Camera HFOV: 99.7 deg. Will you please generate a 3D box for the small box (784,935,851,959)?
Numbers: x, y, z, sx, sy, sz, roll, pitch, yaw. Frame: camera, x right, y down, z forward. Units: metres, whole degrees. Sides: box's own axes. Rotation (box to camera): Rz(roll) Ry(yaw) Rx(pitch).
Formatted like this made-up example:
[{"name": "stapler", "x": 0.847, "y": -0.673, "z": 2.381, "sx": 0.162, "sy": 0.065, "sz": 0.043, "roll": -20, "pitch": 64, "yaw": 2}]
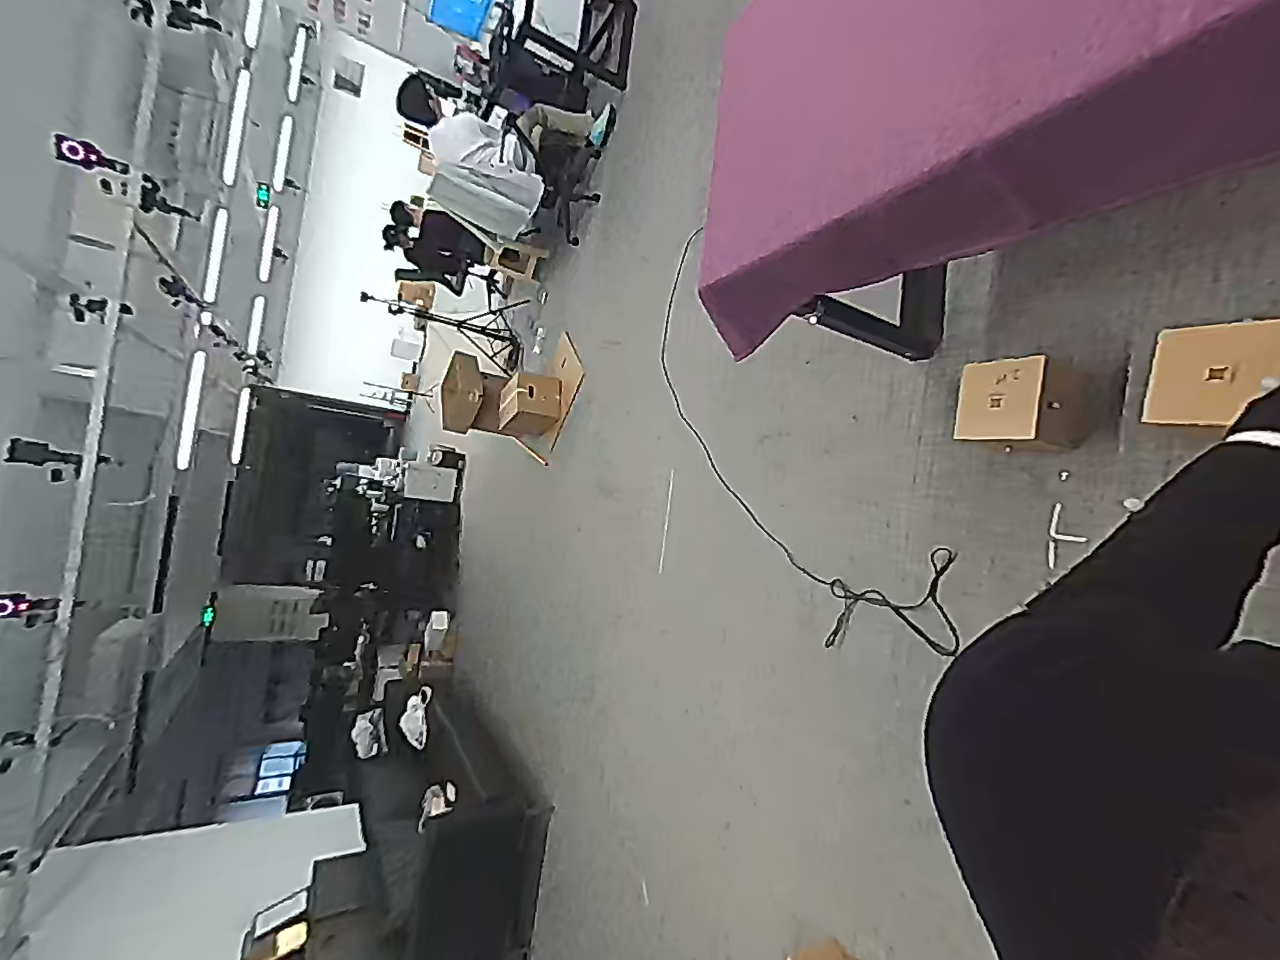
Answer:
[{"name": "small box", "x": 0.479, "y": 1.339, "z": 1.399, "sx": 0.168, "sy": 0.176, "sz": 0.179, "roll": 11, "pitch": 92, "yaw": 61}]
